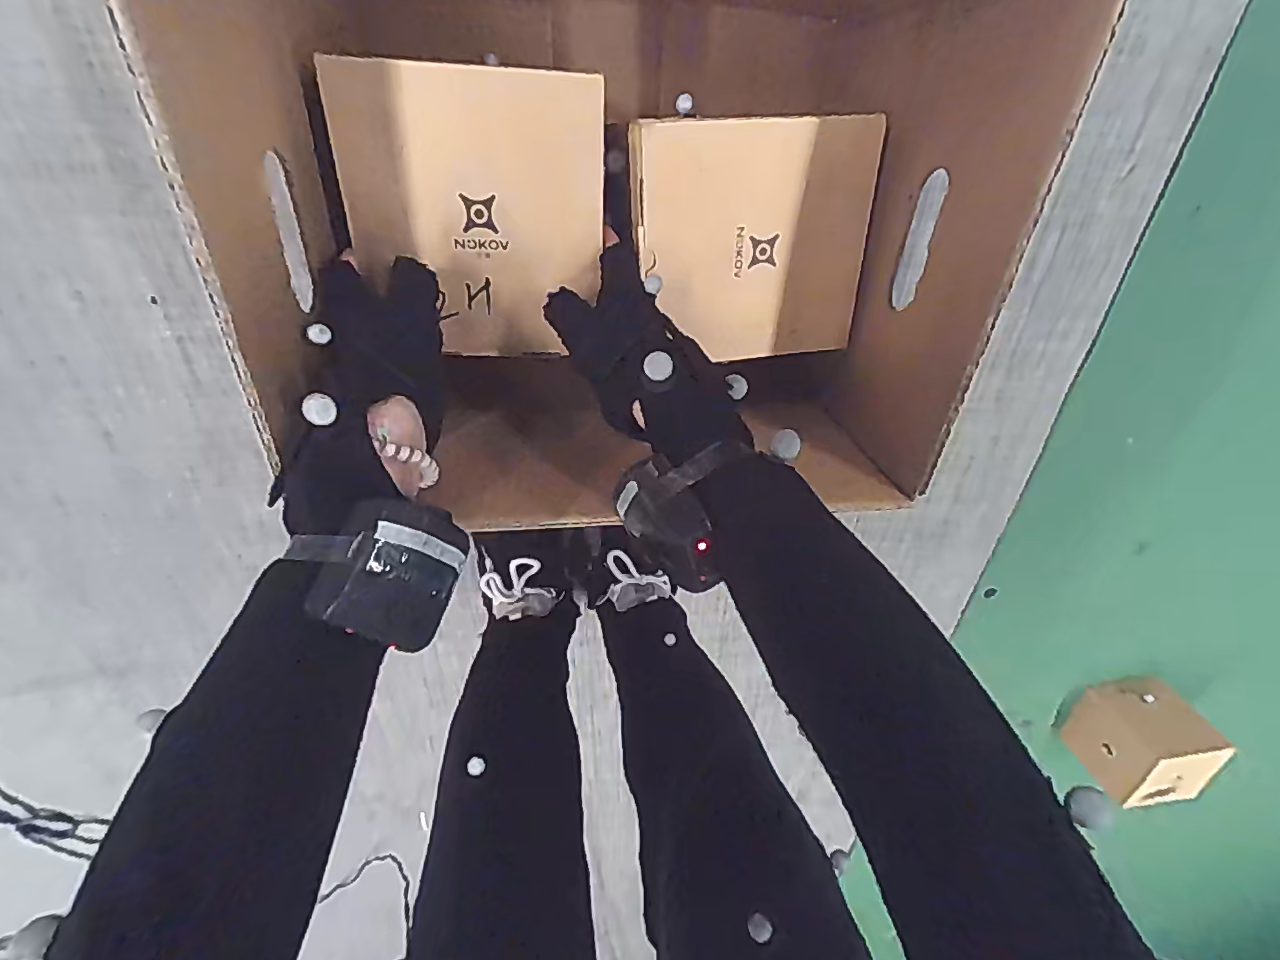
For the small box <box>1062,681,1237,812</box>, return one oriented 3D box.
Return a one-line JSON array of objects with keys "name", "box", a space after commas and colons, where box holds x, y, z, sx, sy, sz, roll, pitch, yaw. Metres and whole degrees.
[{"name": "small box", "box": [1.024, 0.543, 1.110, 0.168, 0.176, 0.179, -6, 122, -5]}]
